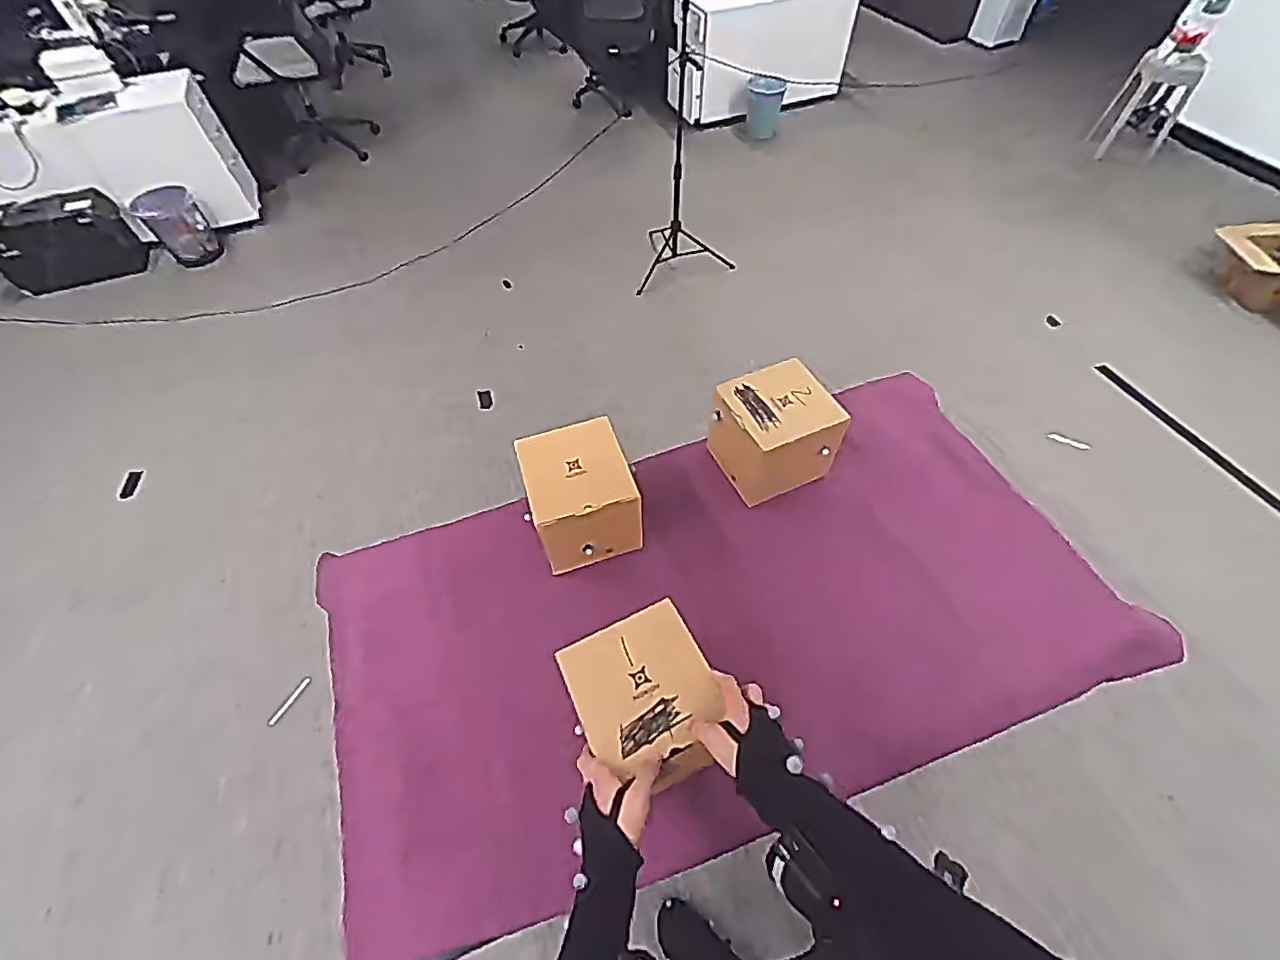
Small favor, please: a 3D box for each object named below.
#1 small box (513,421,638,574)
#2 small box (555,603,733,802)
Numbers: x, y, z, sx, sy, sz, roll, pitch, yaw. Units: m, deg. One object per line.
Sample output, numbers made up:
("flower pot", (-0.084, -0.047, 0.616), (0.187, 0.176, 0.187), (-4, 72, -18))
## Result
("small box", (-0.107, 0.032, 0.926), (0.168, 0.176, 0.179), (-17, 57, -10))
("small box", (0.007, 0.299, 0.713), (0.168, 0.176, 0.179), (-22, 54, -12))
